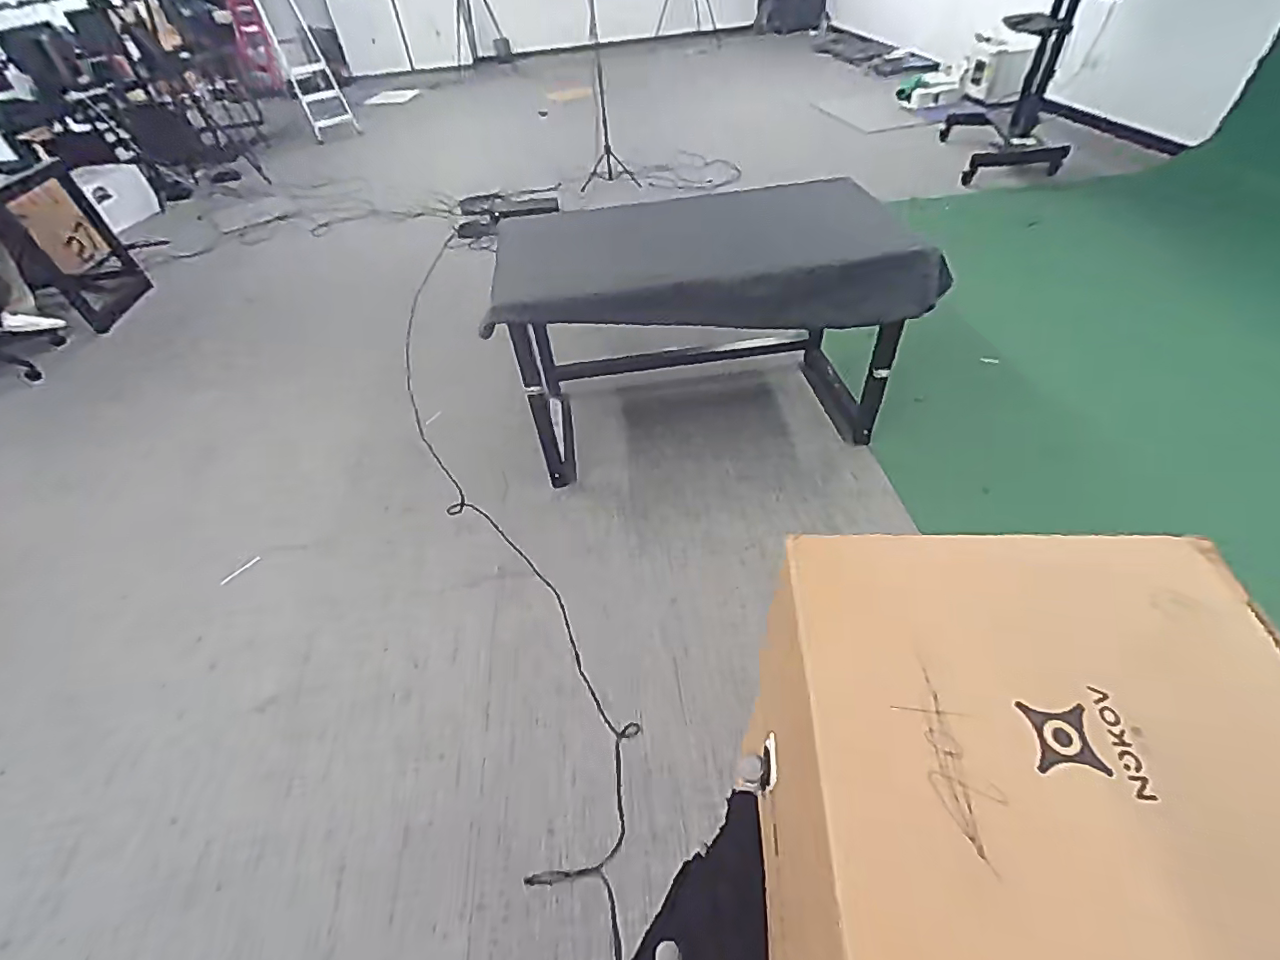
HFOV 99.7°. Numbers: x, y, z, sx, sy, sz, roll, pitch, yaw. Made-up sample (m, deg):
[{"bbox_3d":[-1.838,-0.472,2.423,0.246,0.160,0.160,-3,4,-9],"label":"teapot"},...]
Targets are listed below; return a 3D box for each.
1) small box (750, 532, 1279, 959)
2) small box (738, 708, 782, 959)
[{"bbox_3d":[0.152,0.139,0.259,0.179,0.176,0.168,-2,51,6],"label":"small box"},{"bbox_3d":[0.168,0.241,0.384,0.179,0.176,0.168,1,51,5],"label":"small box"}]
